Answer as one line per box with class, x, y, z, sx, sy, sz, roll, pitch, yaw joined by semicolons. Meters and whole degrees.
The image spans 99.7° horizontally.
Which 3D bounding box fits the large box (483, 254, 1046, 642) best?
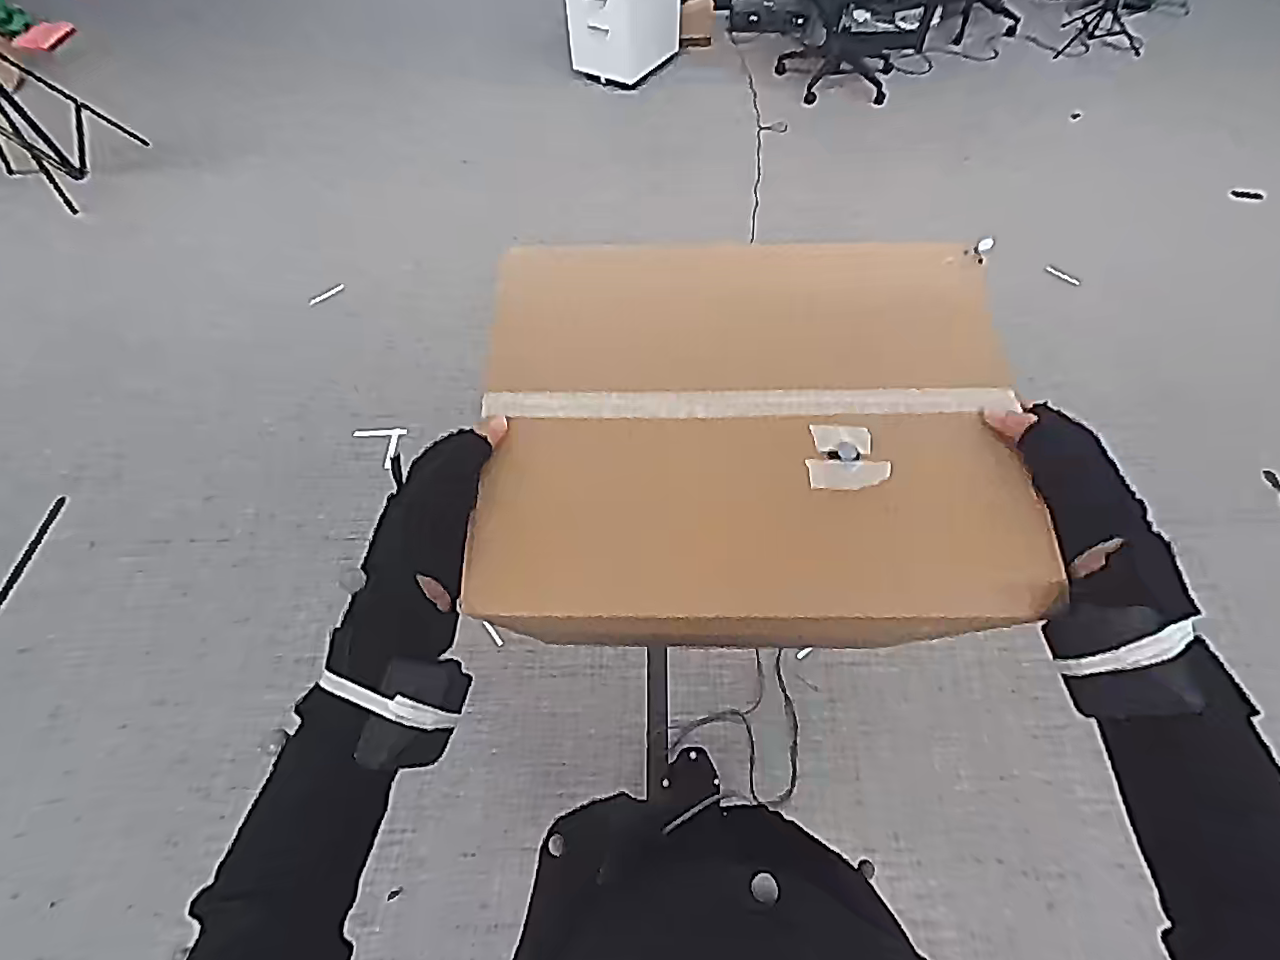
large box;0.086;-0.003;0.567;0.408;0.320;0.320;0;71;1
